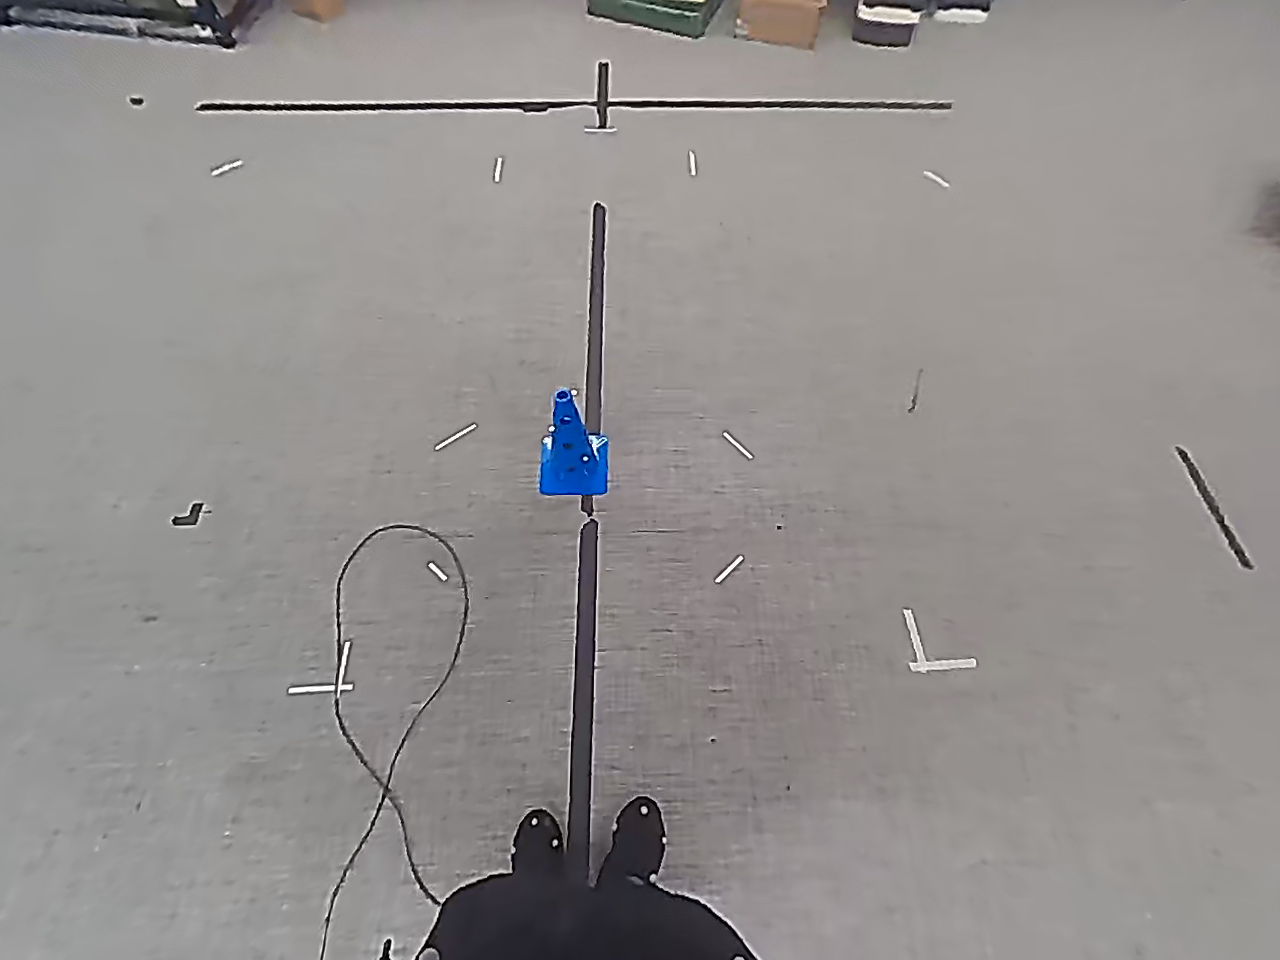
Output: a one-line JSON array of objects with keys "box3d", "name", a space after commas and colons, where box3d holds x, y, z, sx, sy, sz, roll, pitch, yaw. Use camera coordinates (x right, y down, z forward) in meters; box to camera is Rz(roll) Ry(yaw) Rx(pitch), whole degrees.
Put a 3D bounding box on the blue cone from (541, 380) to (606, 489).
[{"box3d": [-0.193, -0.132, 1.438, 0.193, 0.380, 0.192, -2, 64, -2], "name": "blue cone"}]
